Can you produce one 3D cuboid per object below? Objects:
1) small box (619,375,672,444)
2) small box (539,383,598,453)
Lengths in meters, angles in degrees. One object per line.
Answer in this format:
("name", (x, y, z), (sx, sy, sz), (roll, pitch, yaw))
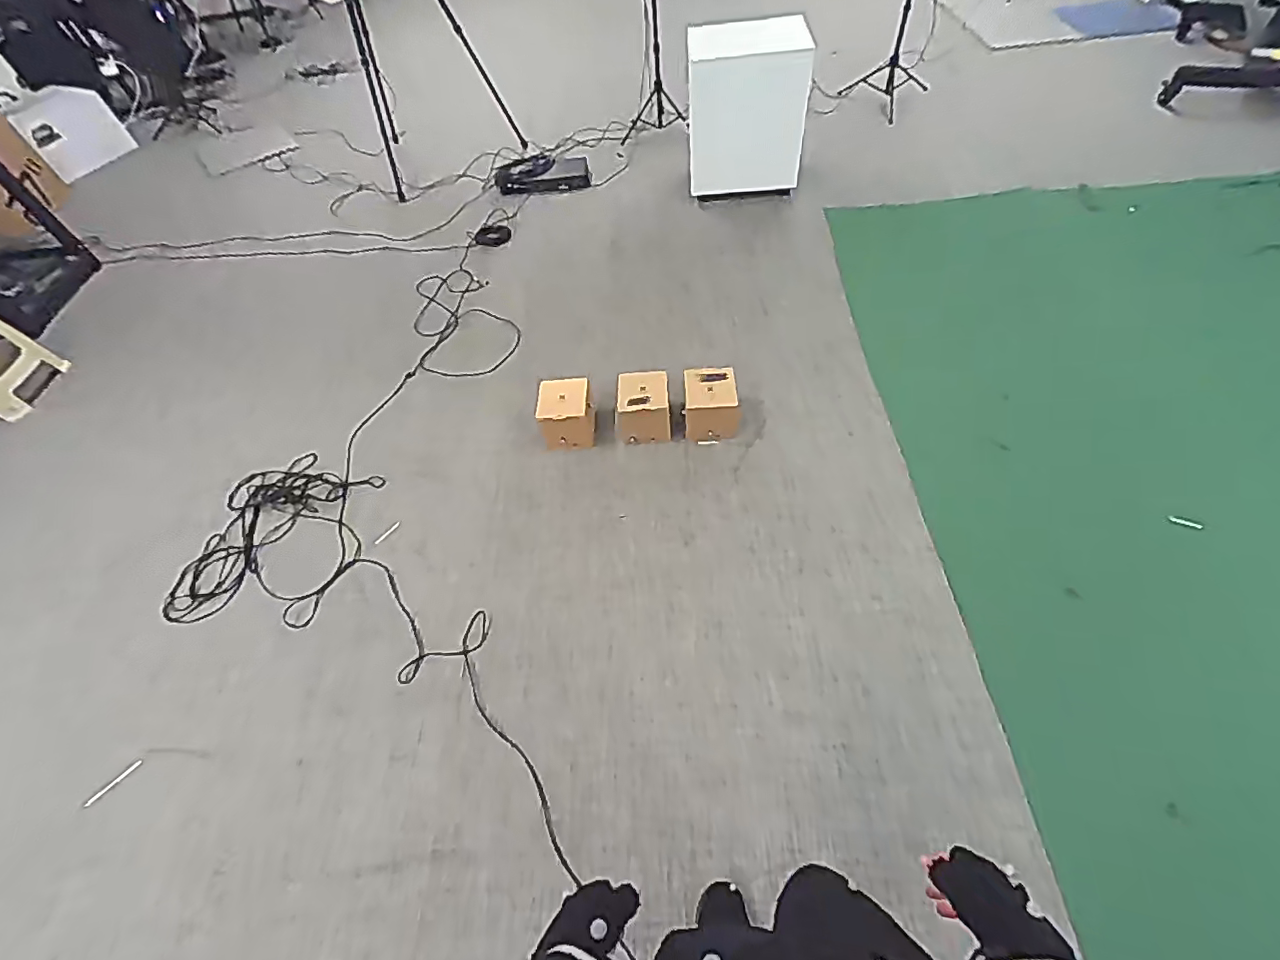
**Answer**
("small box", (0.022, -0.236, 1.858), (0.168, 0.176, 0.179), (-4, 53, 5))
("small box", (-0.242, -0.215, 1.878), (0.168, 0.176, 0.179), (-4, 55, 5))
